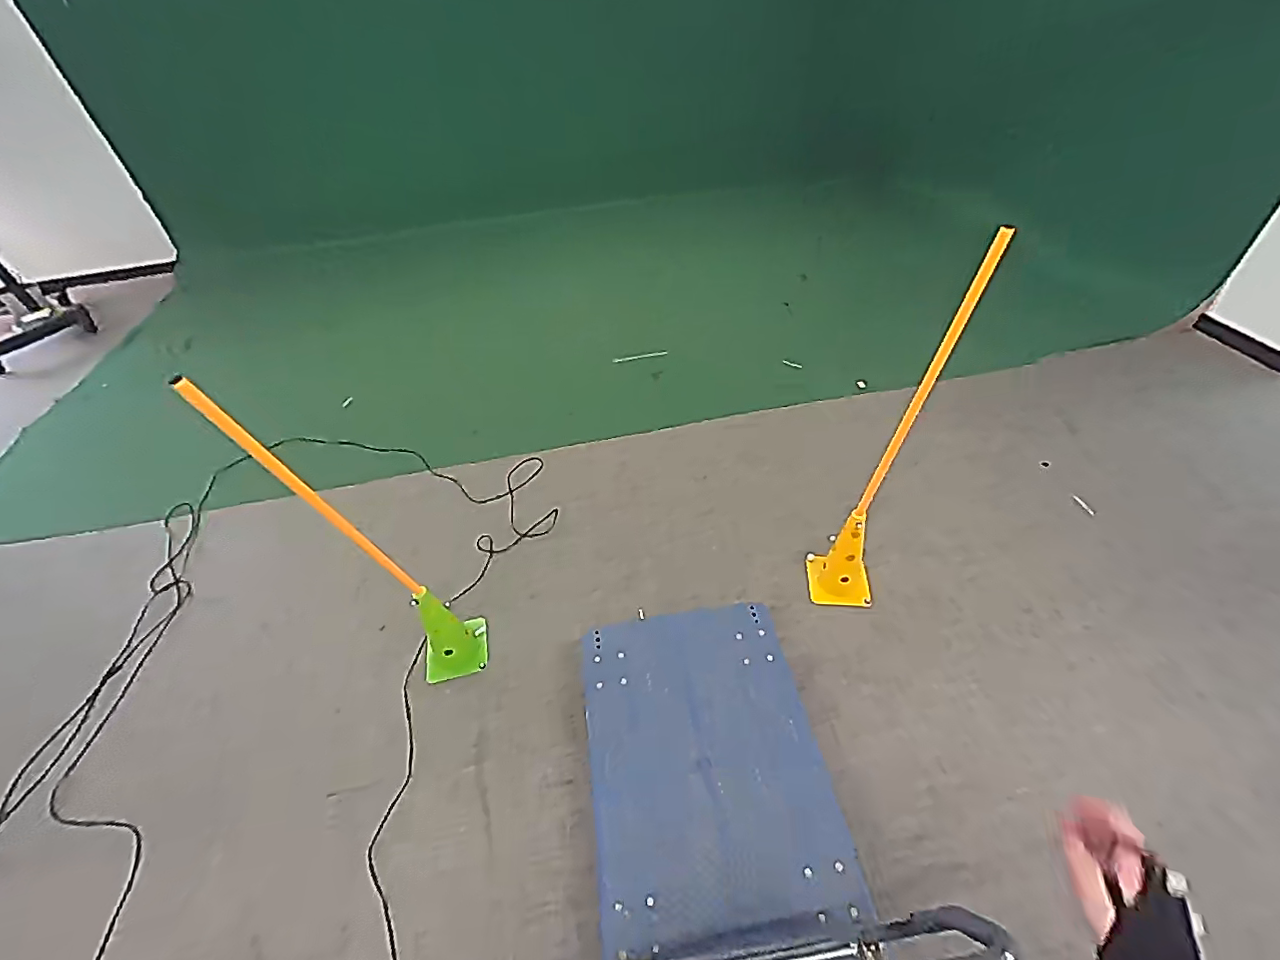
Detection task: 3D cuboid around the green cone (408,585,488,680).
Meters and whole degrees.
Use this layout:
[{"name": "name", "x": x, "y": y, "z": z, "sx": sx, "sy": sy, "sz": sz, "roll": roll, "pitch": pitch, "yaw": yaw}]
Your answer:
[{"name": "green cone", "x": -0.635, "y": 0.442, "z": 1.704, "sx": 0.202, "sy": 0.368, "sz": 0.200, "roll": -14, "pitch": 45, "yaw": -6}]
